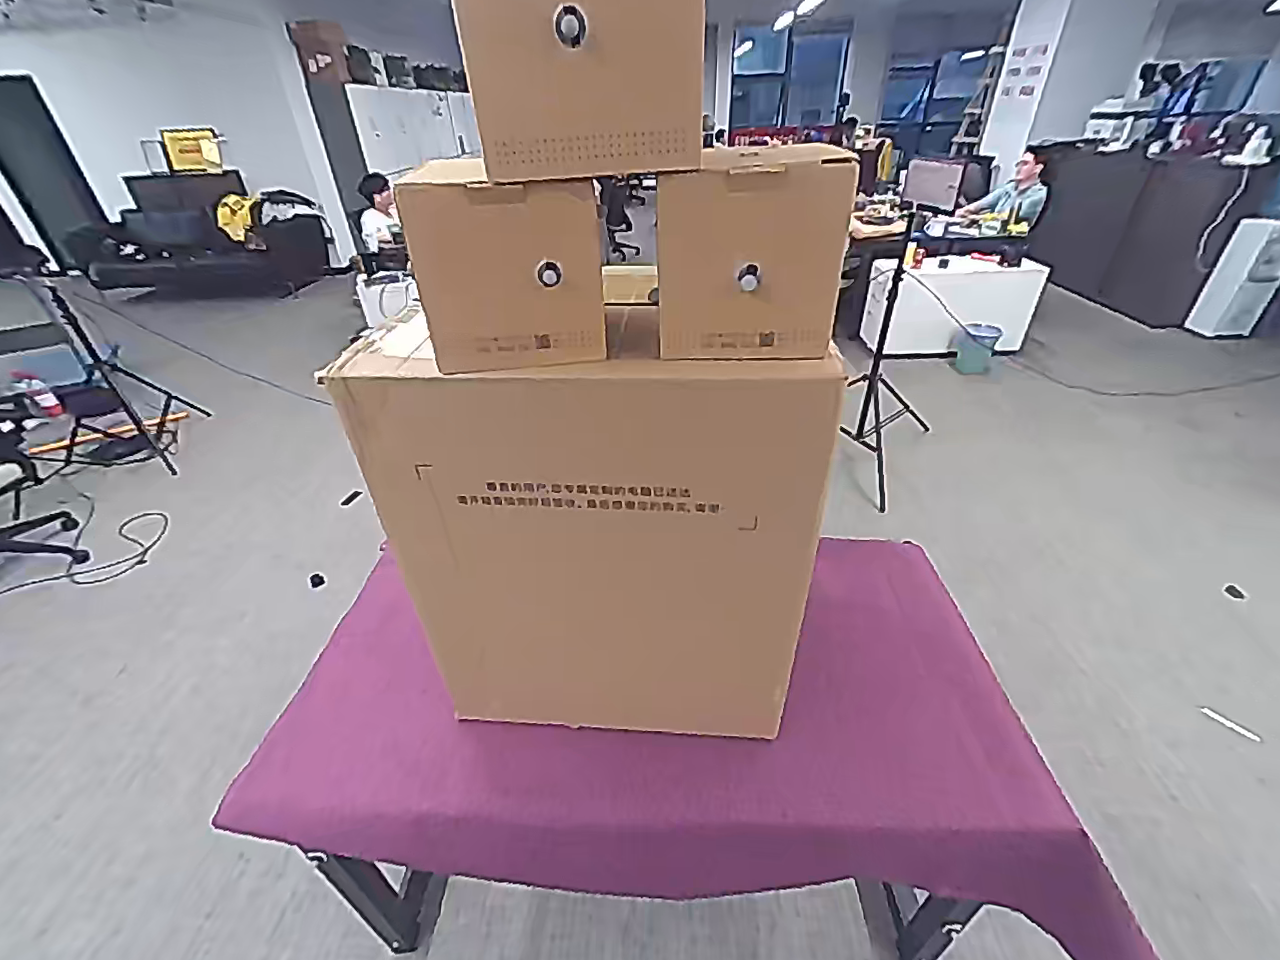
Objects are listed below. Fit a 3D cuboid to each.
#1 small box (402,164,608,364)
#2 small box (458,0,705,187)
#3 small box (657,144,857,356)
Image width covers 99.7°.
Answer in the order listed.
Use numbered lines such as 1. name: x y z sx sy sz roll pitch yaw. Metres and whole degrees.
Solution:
1. small box: -0.125 -0.226 0.562 0.168 0.176 0.179 -5 34 -7
2. small box: -0.041 -0.357 0.455 0.179 0.176 0.168 -5 36 0
3. small box: 0.107 -0.236 0.556 0.168 0.176 0.179 1 36 5
